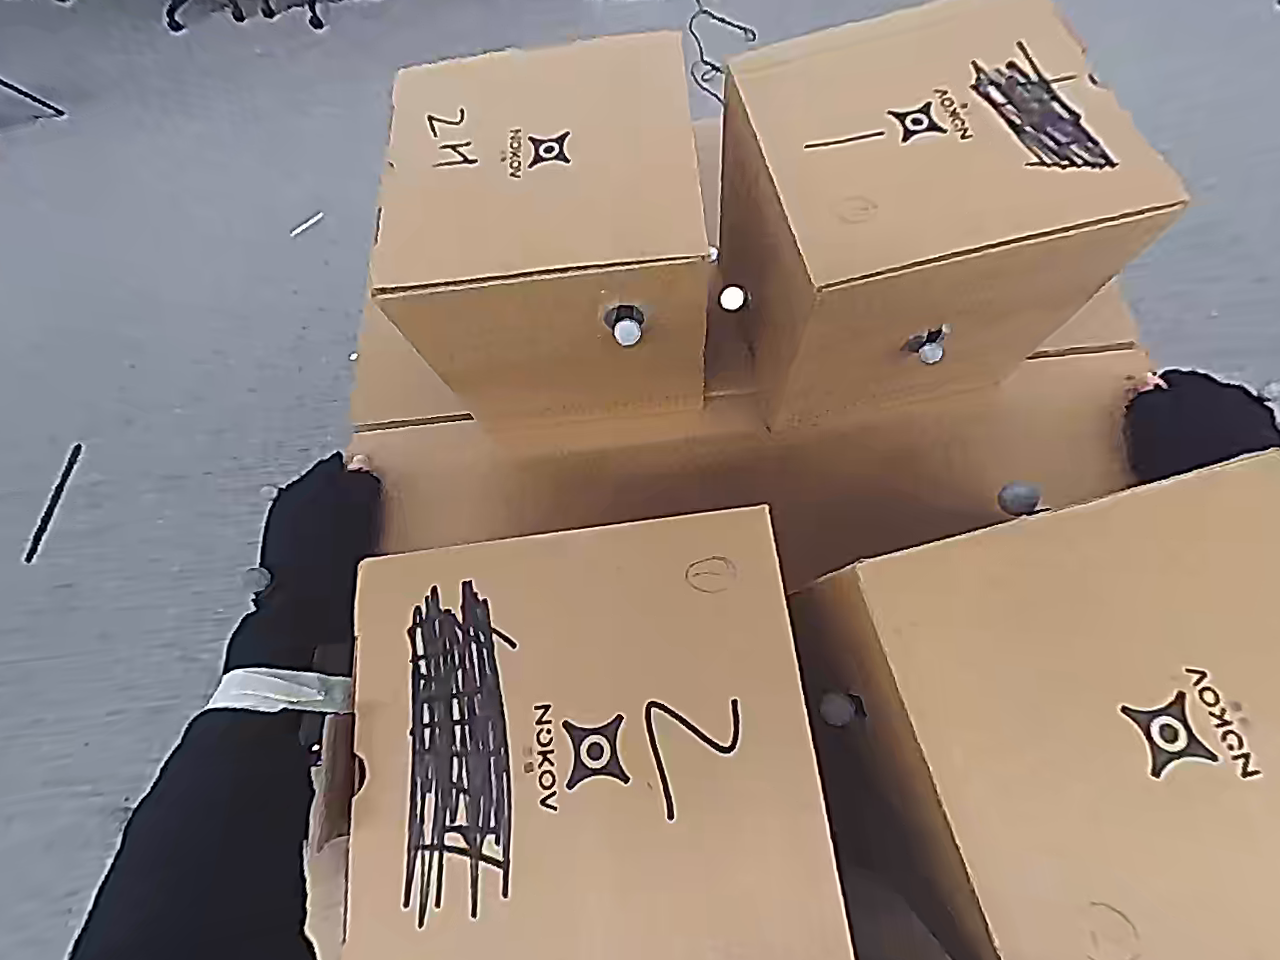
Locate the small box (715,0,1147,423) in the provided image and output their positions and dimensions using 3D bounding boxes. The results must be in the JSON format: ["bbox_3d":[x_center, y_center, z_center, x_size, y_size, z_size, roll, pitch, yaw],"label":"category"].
[{"bbox_3d":[0.153,-0.158,0.361,0.179,0.176,0.168,-13,70,3],"label":"small box"}]

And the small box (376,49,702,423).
[{"bbox_3d":[-0.051,-0.152,0.383,0.179,0.176,0.168,-4,70,5],"label":"small box"}]
